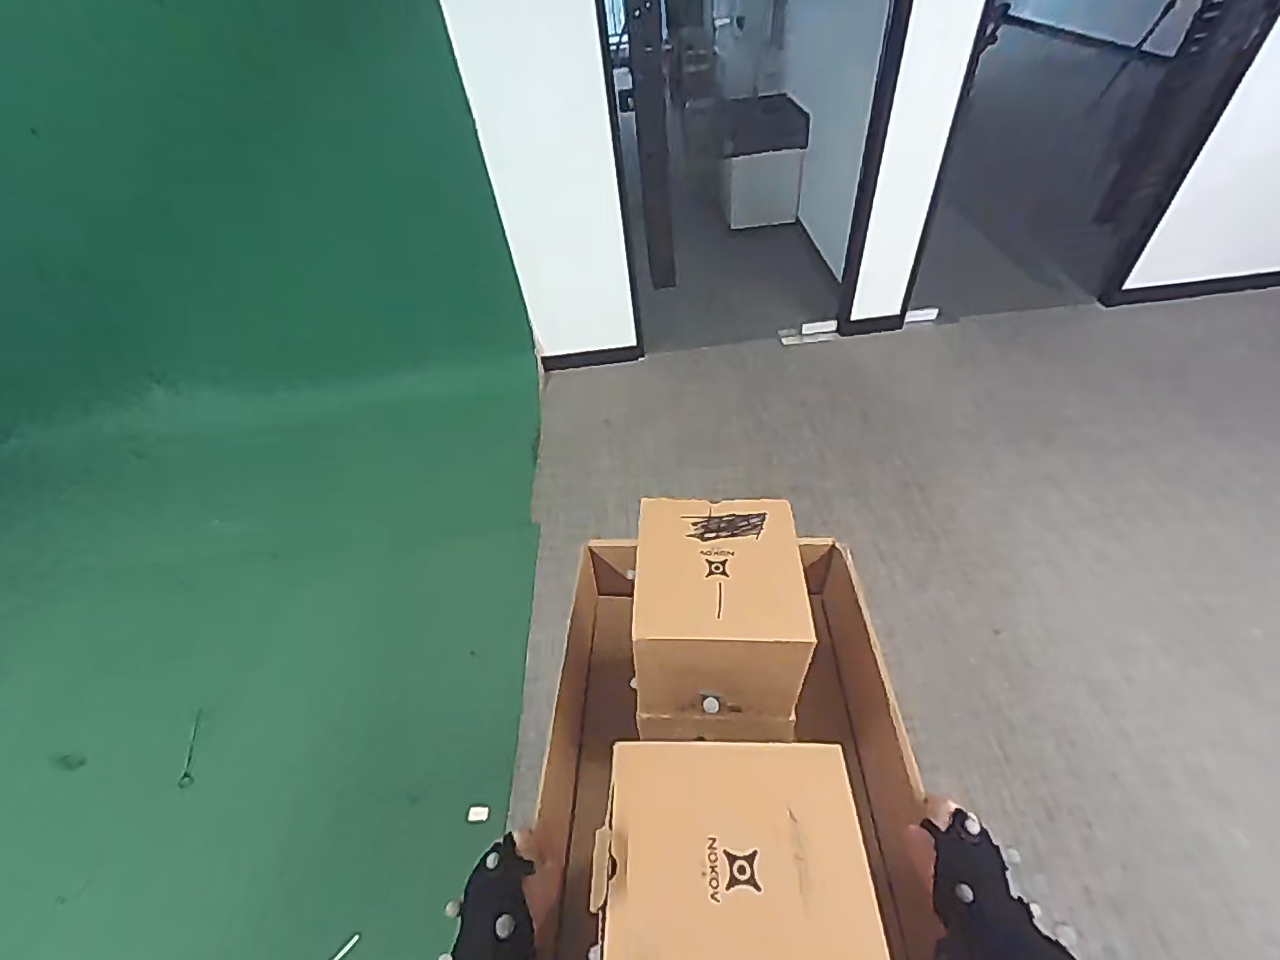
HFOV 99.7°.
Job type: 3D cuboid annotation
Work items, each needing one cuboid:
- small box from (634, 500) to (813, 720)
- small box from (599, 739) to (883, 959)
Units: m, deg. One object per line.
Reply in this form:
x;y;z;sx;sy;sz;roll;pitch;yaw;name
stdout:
0.084;0.143;0.604;0.168;0.176;0.179;1;46;5;small box
0.067;0.321;0.421;0.179;0.176;0.168;0;43;3;small box
